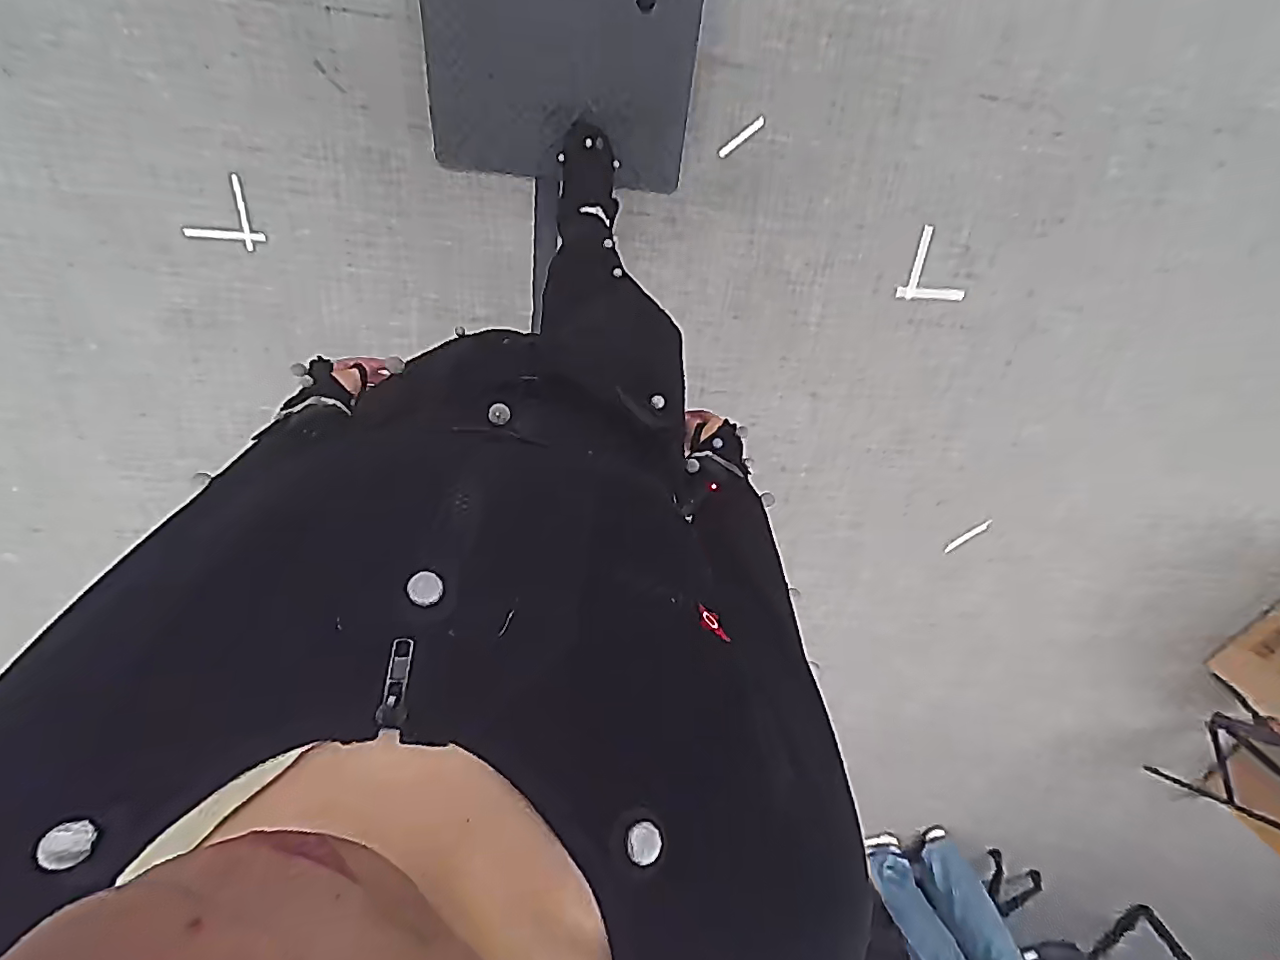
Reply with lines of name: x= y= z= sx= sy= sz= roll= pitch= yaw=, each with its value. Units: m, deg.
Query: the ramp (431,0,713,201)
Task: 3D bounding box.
ramp: x=-0.094 y=-0.993 z=0.823 sx=0.509 sy=0.206 sz=0.991 roll=0 pitch=118 yaw=-7
